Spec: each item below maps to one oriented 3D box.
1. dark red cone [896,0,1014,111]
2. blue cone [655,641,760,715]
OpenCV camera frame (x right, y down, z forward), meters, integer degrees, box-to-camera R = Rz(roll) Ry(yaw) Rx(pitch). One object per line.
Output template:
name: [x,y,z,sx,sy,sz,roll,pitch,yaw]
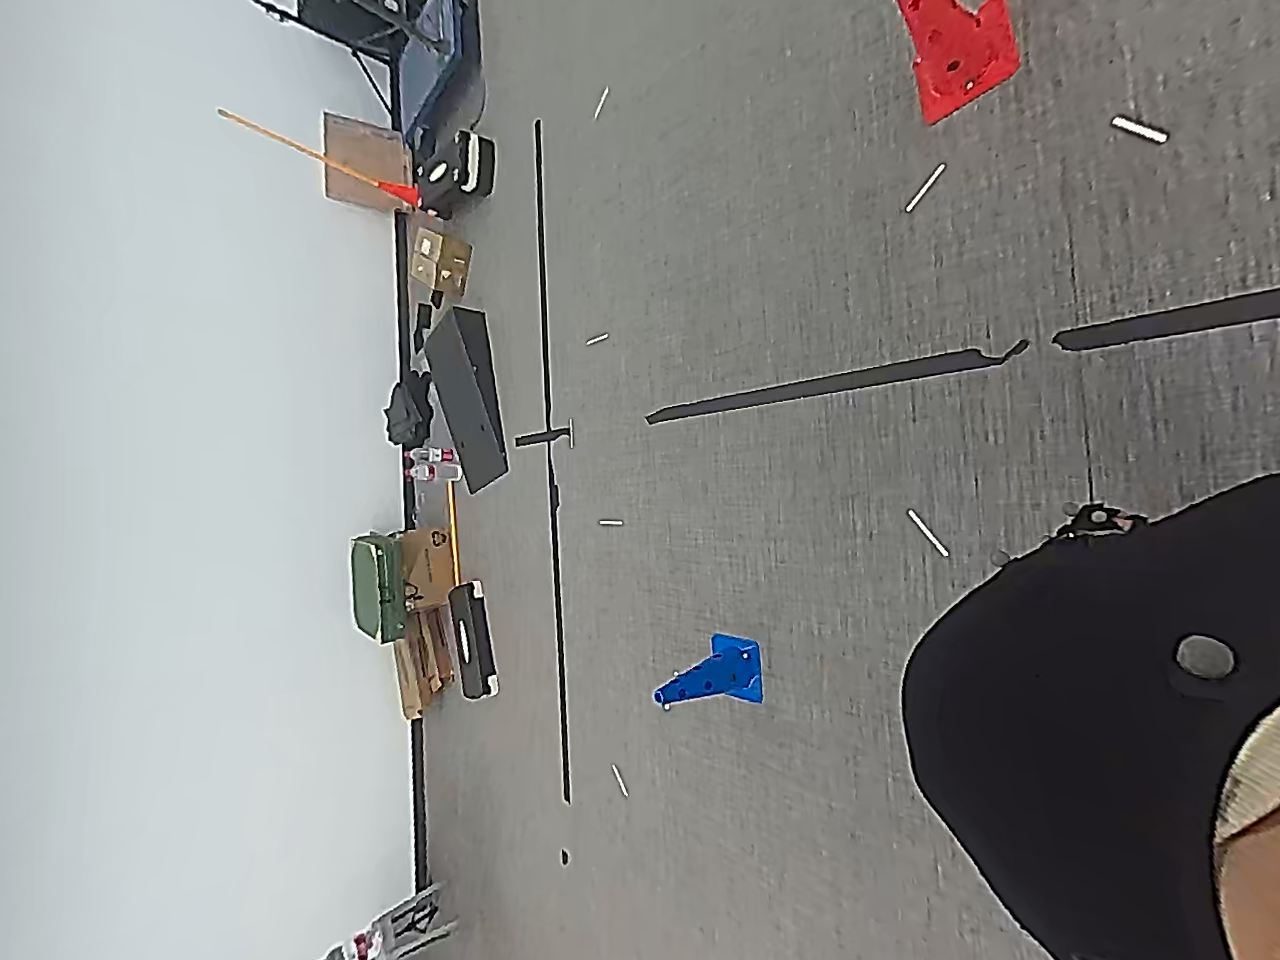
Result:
dark red cone: [0.602,-0.980,1.126,0.202,0.394,0.201,-15,80,48]
blue cone: [0.192,0.641,1.676,0.193,0.380,0.192,-3,90,49]
